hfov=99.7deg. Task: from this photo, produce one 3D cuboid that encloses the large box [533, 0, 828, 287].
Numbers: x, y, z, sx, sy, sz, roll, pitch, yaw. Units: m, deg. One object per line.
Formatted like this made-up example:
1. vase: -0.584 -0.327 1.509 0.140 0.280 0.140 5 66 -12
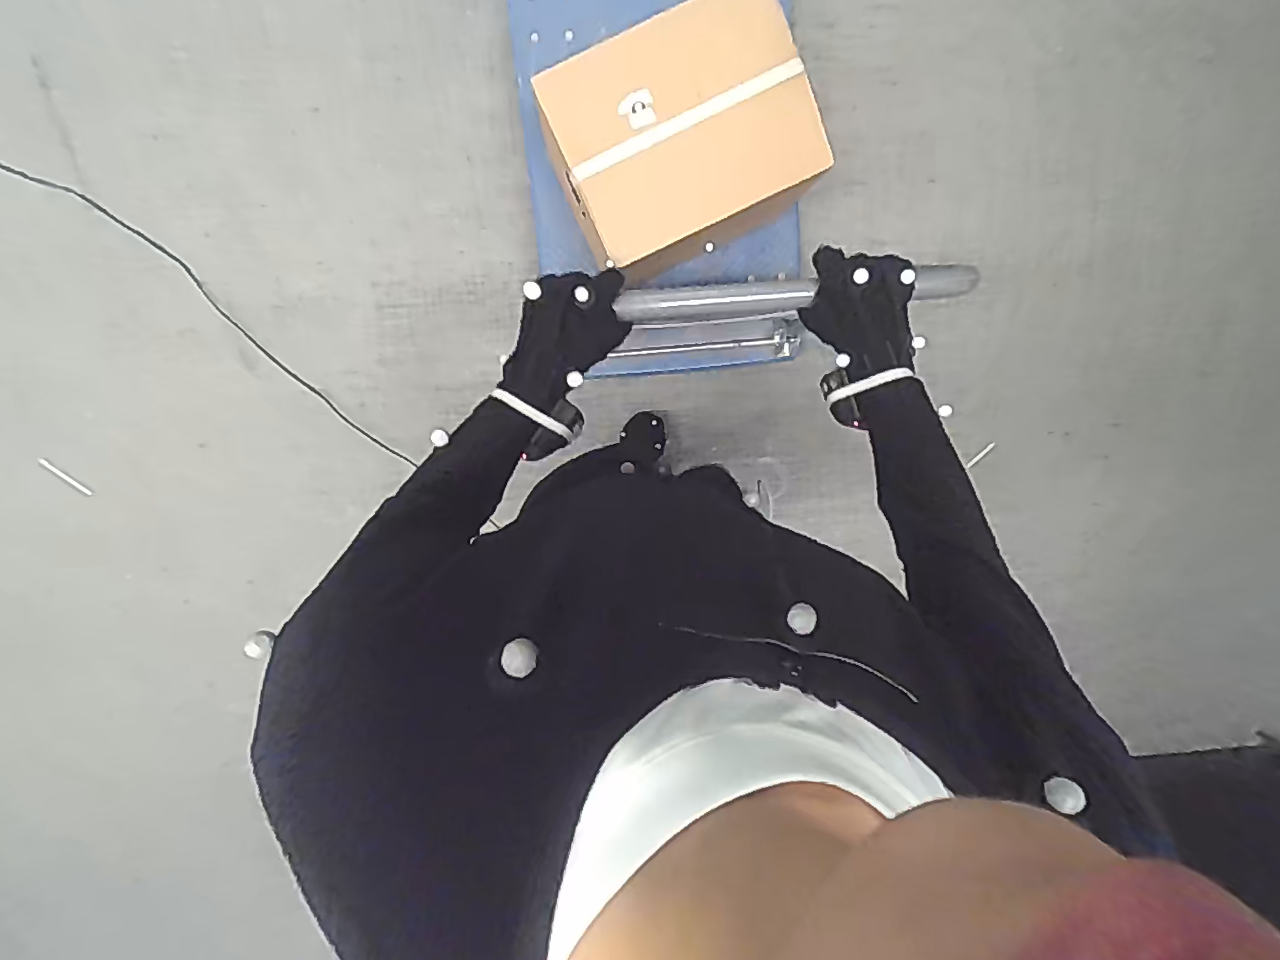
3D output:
1. large box: 0.064 -0.606 1.009 0.408 0.320 0.320 -24 102 2
